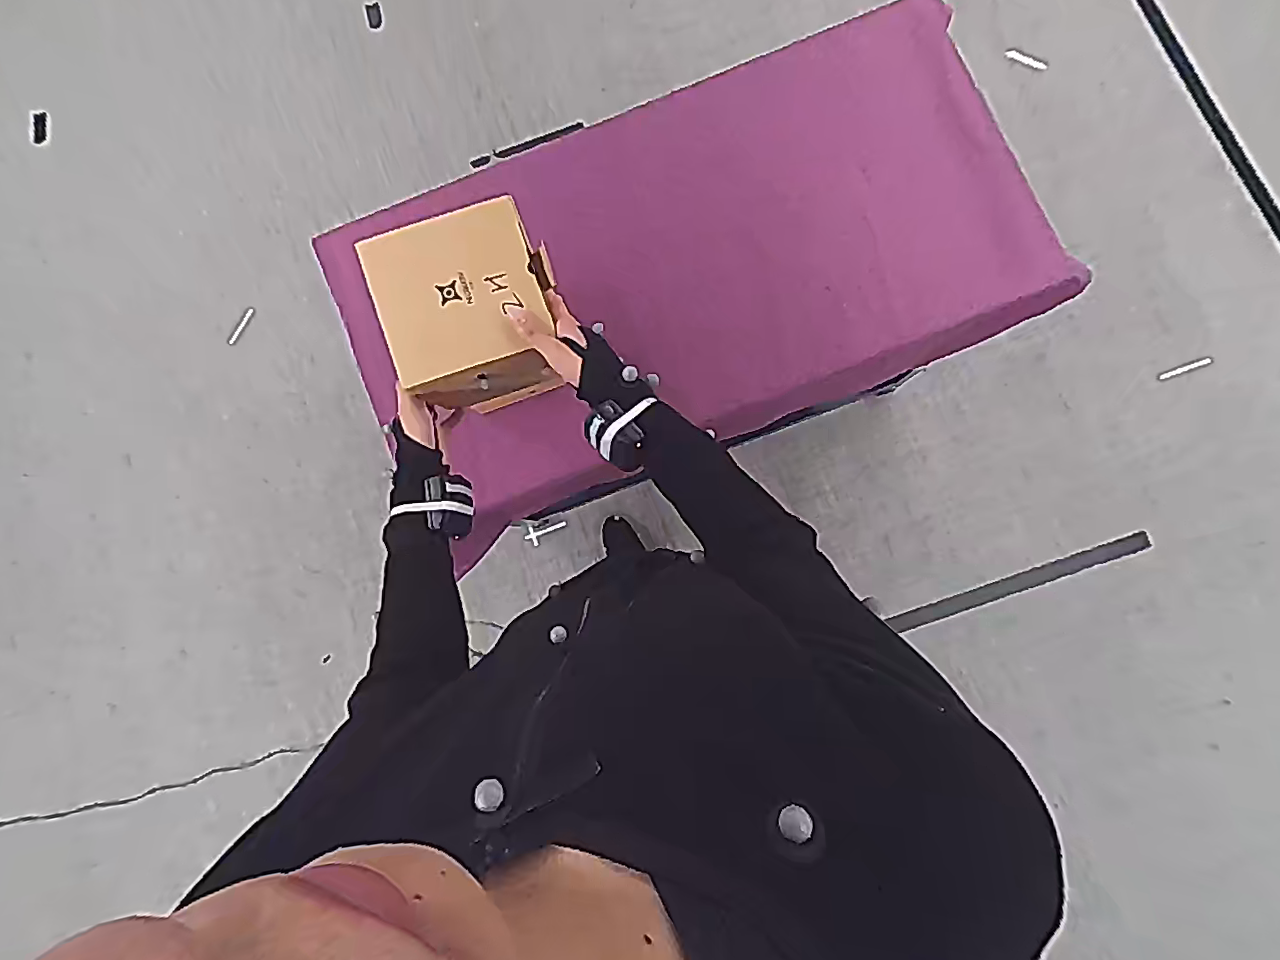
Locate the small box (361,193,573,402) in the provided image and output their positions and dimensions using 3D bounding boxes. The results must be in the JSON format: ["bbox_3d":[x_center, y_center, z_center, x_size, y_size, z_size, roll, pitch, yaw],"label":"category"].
[{"bbox_3d":[-0.192,-0.203,0.653,0.179,0.176,0.168,-19,91,-2],"label":"small box"}]
